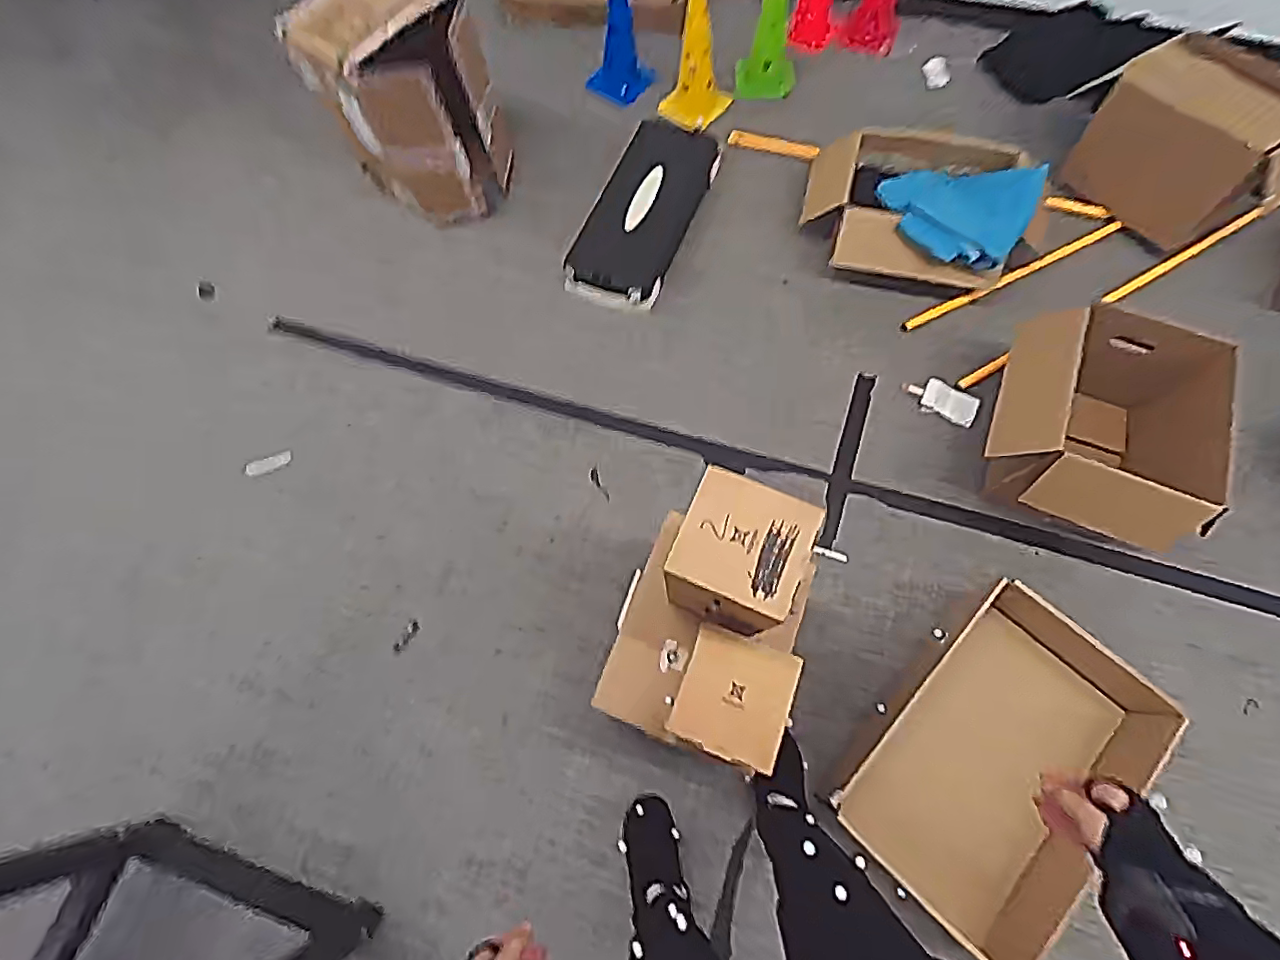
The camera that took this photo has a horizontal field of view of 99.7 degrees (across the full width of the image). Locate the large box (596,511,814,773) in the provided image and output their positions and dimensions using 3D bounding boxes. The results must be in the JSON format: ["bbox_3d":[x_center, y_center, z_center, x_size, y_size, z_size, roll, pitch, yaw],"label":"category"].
[{"bbox_3d":[0.137,0.331,1.155,0.320,0.320,0.408,19,73,11],"label":"large box"}]

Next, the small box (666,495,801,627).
[{"bbox_3d":[0.158,0.152,0.956,0.179,0.176,0.168,23,75,10],"label":"small box"}]
